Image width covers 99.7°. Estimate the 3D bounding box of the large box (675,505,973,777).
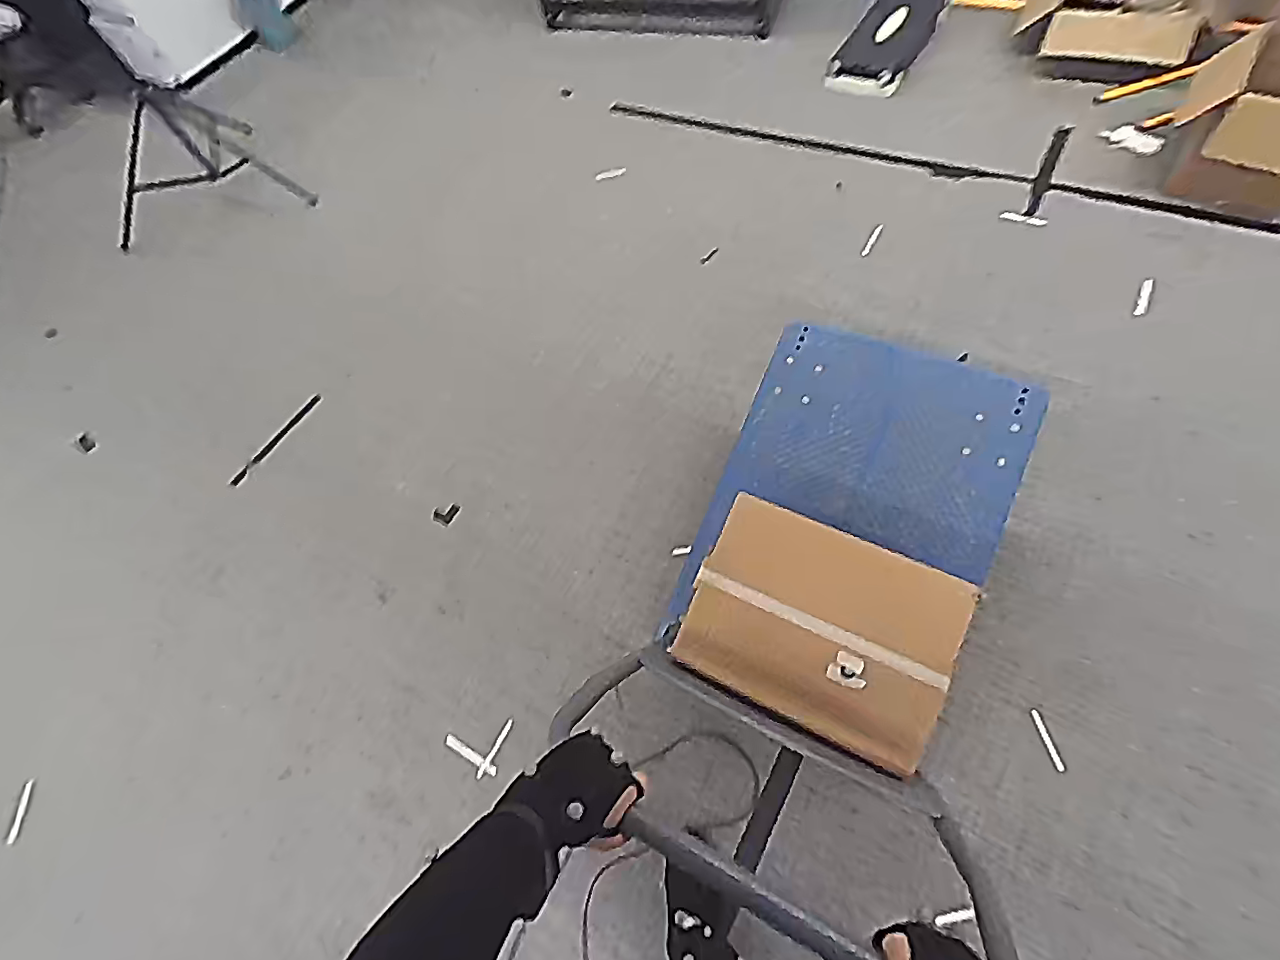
[{"bbox_3d":[0.326,0.281,1.038,0.408,0.320,0.320,23,85,17],"label":"large box"}]
